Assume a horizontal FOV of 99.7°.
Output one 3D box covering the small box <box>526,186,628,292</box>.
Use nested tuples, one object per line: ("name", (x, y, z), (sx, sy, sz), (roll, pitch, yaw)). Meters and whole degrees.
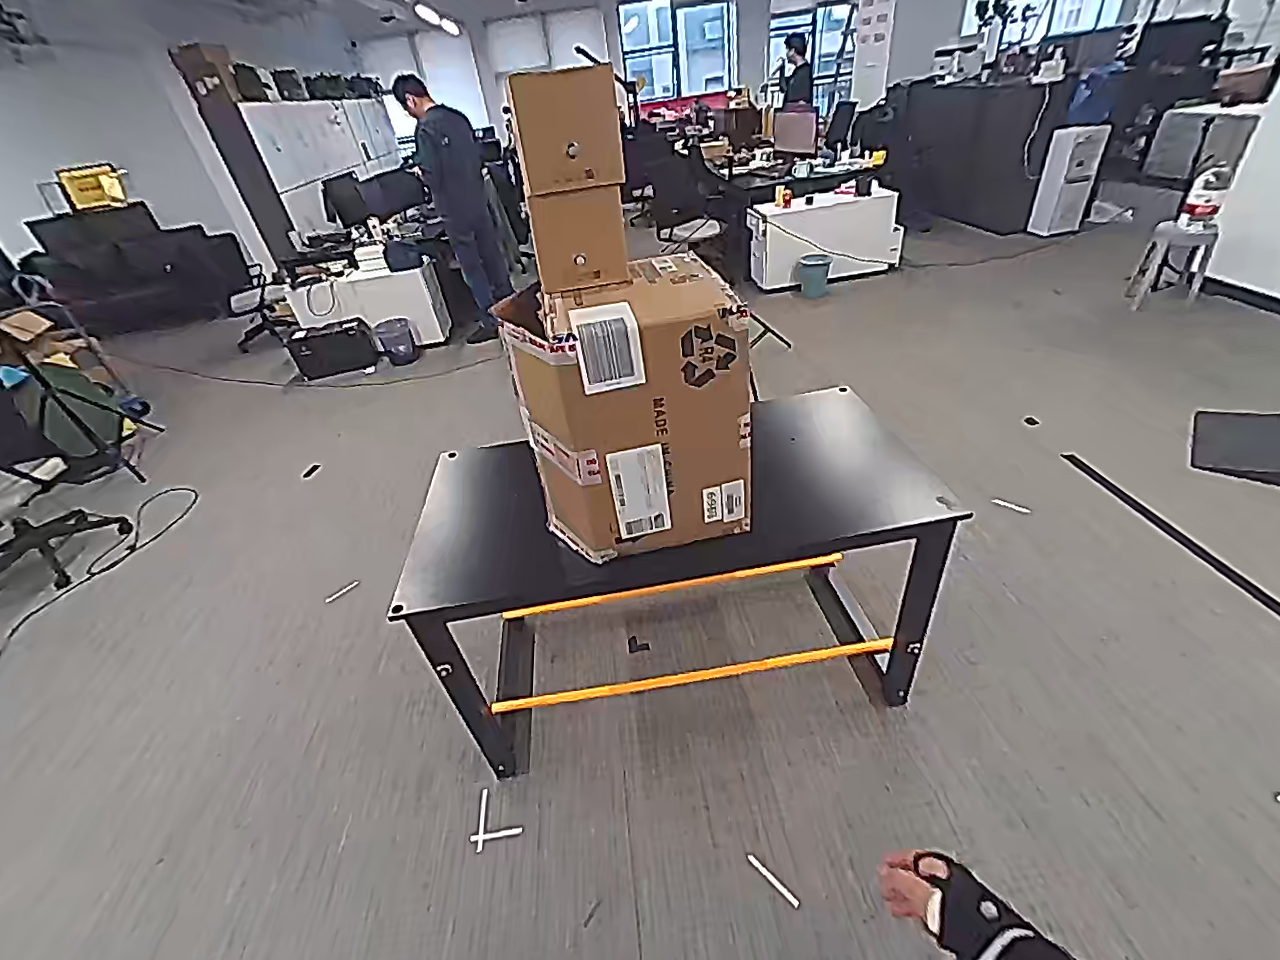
("small box", (-0.124, -0.475, 1.050), (0.168, 0.176, 0.179), (-12, 35, -6))

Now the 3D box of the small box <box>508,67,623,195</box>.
("small box", (-0.132, -0.608, 0.952), (0.168, 0.176, 0.179), (-13, 34, -8))
